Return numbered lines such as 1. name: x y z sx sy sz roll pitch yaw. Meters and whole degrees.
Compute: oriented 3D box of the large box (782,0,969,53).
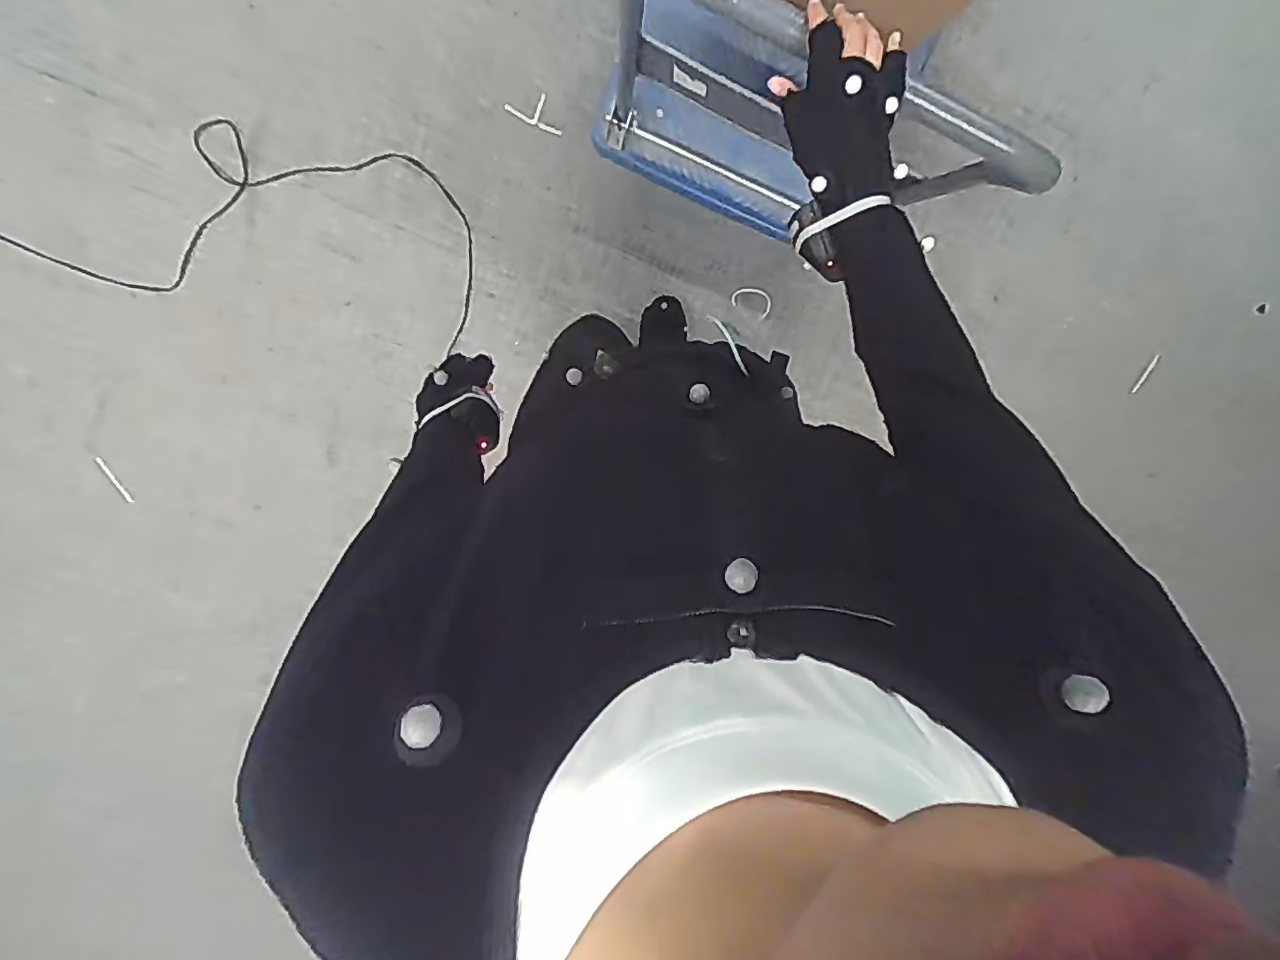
1. large box: 0.404 -1.002 0.880 0.408 0.320 0.320 18 104 -8
